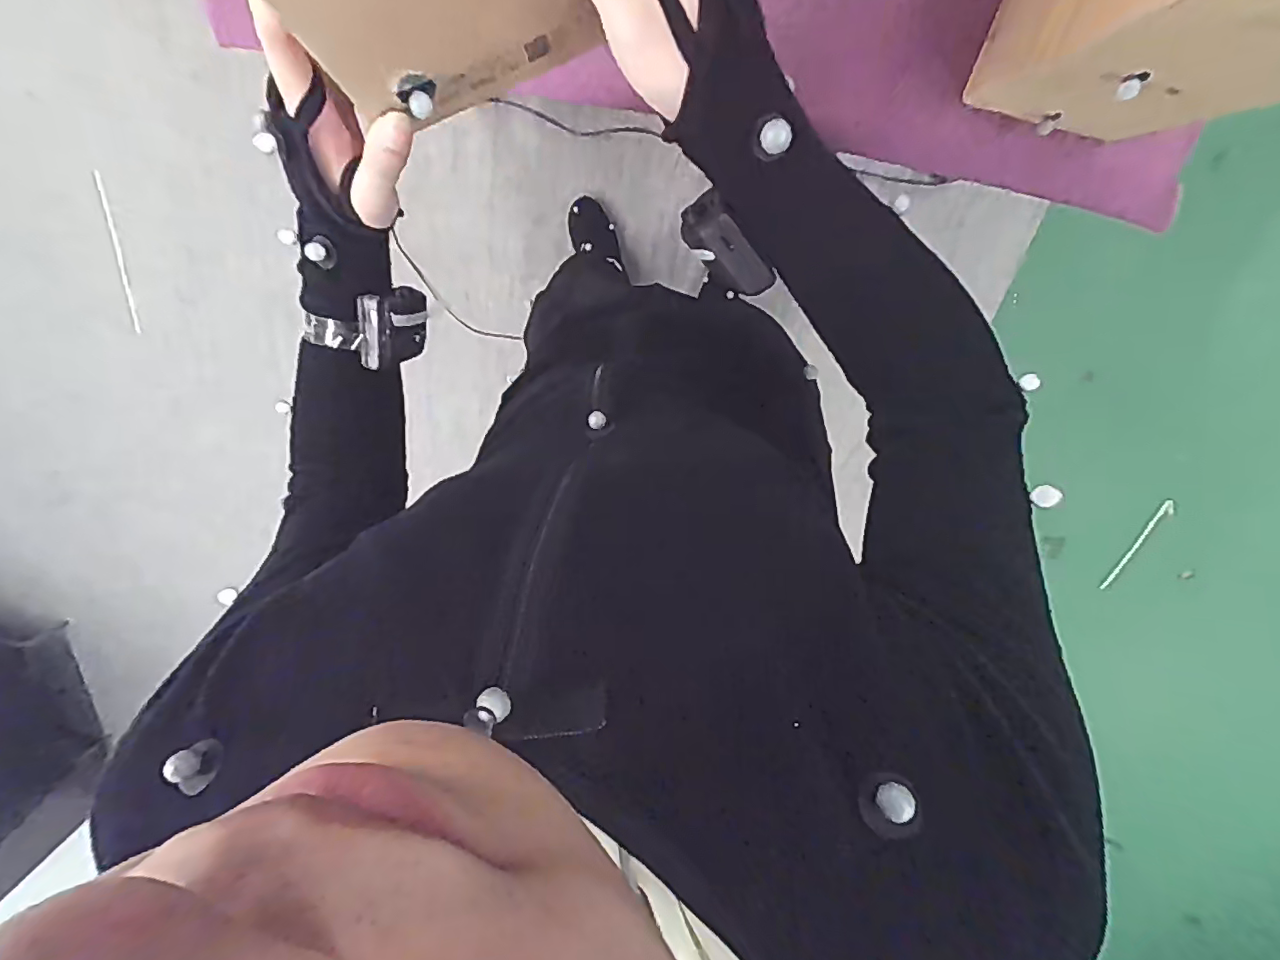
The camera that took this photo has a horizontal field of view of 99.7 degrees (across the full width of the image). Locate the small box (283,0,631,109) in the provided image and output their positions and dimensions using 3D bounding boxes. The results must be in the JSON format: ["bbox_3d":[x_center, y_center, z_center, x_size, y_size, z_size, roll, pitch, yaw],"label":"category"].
[{"bbox_3d":[-0.110,-0.313,0.244,0.168,0.176,0.179,-22,91,3],"label":"small box"}]

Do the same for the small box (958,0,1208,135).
[{"bbox_3d":[0.452,-0.449,0.515,0.179,0.176,0.168,17,116,2],"label":"small box"}]
